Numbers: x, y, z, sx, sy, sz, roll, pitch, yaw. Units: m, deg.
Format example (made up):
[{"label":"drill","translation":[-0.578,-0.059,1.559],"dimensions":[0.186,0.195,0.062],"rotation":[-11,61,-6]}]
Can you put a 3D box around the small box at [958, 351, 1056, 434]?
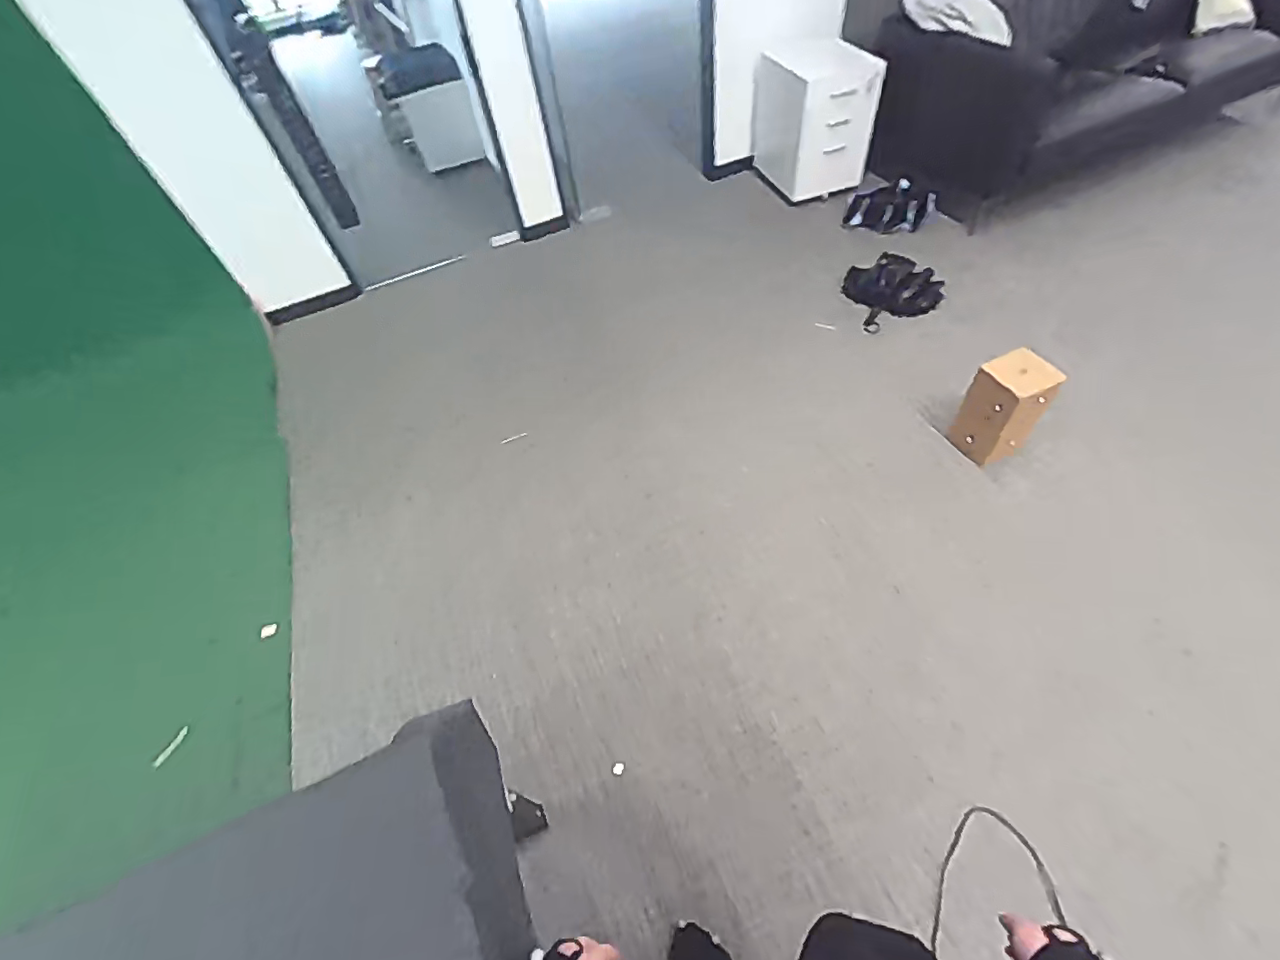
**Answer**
[{"label":"small box","translation":[1.152,-0.275,1.719],"dimensions":[0.179,0.176,0.168],"rotation":[-23,54,-12]}]

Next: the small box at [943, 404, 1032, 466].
[{"label":"small box","translation":[1.173,-0.176,1.847],"dimensions":[0.179,0.176,0.168],"rotation":[-26,54,-11]}]
